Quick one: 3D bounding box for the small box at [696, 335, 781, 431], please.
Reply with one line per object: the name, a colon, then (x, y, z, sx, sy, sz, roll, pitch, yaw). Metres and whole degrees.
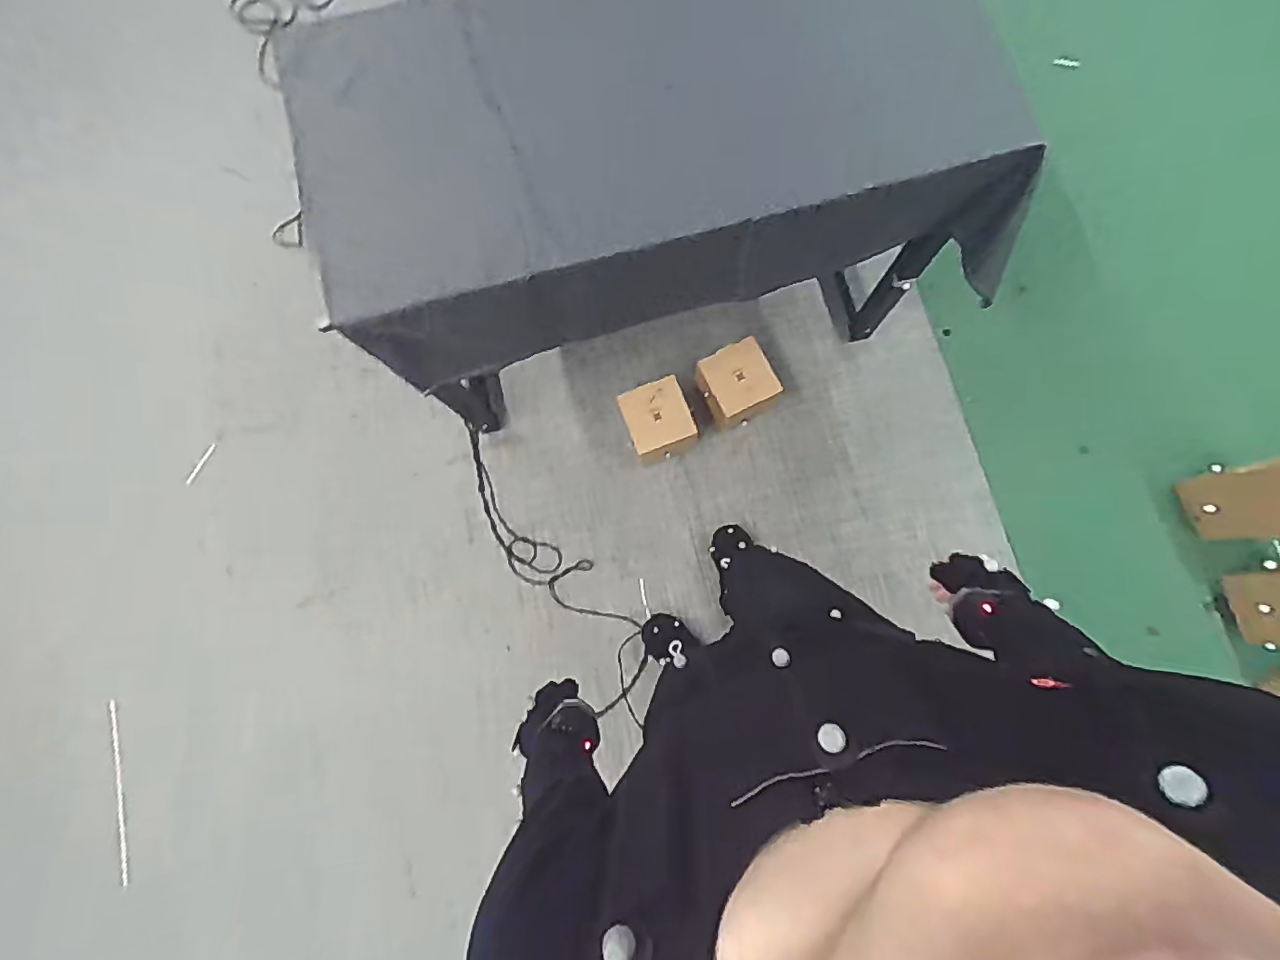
small box: (0.261, -0.259, 1.487, 0.168, 0.176, 0.179, -26, 79, -1)

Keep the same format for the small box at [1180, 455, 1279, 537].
small box: (1.533, 0.043, 1.362, 0.179, 0.176, 0.168, -15, 79, 2)

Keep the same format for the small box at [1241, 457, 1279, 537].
small box: (1.524, 0.018, 1.200, 0.168, 0.176, 0.179, -16, 80, 0)
